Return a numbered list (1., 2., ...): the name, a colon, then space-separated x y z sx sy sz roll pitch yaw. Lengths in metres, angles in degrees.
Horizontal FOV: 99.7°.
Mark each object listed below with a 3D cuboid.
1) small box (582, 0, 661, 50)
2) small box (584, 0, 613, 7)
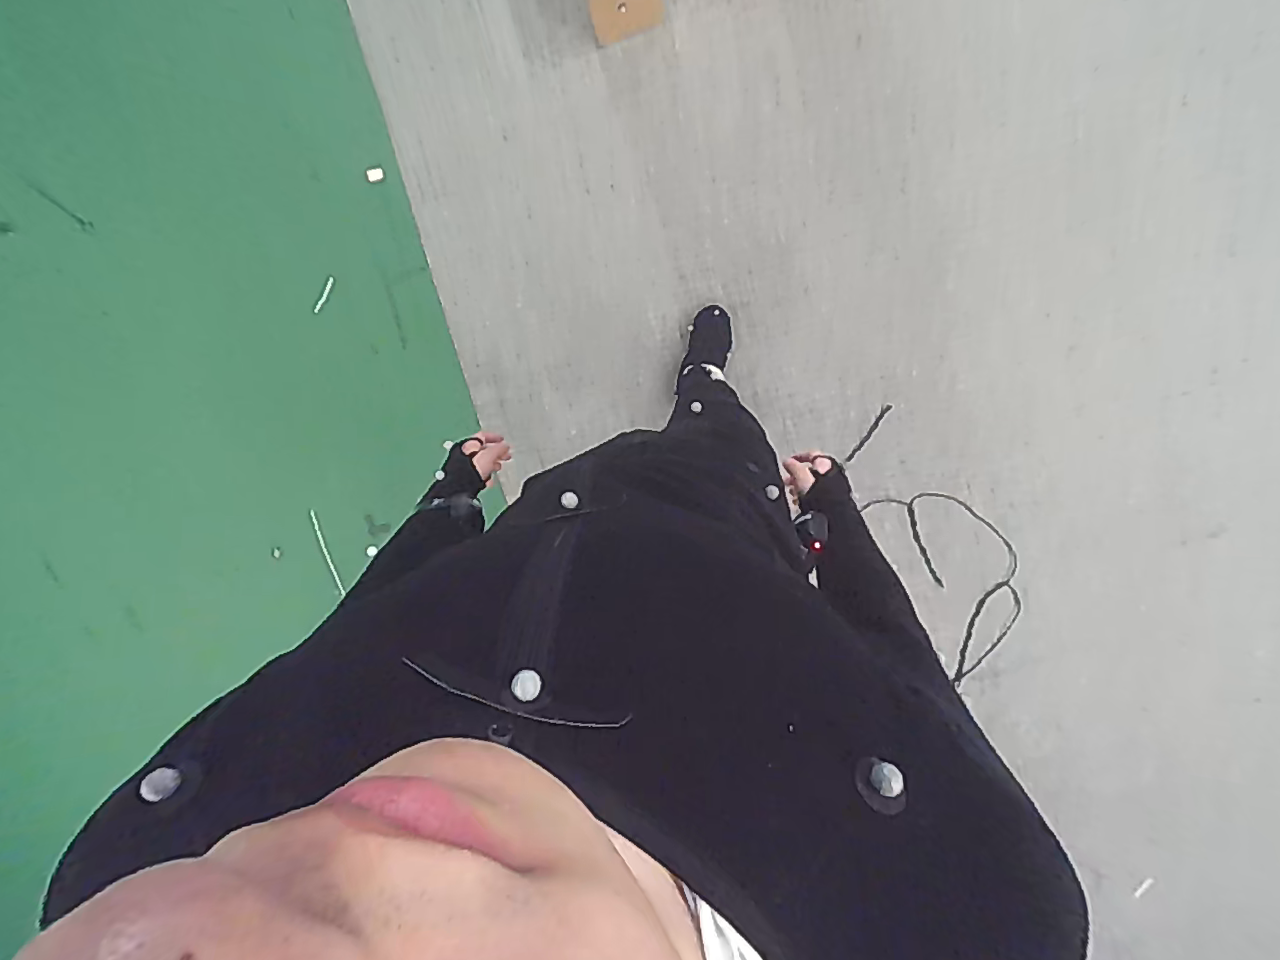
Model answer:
1. small box: -0.056 -1.181 1.288 0.179 0.176 0.168 -15 100 7
2. small box: -0.074 -1.147 1.129 0.168 0.176 0.179 -18 100 8
